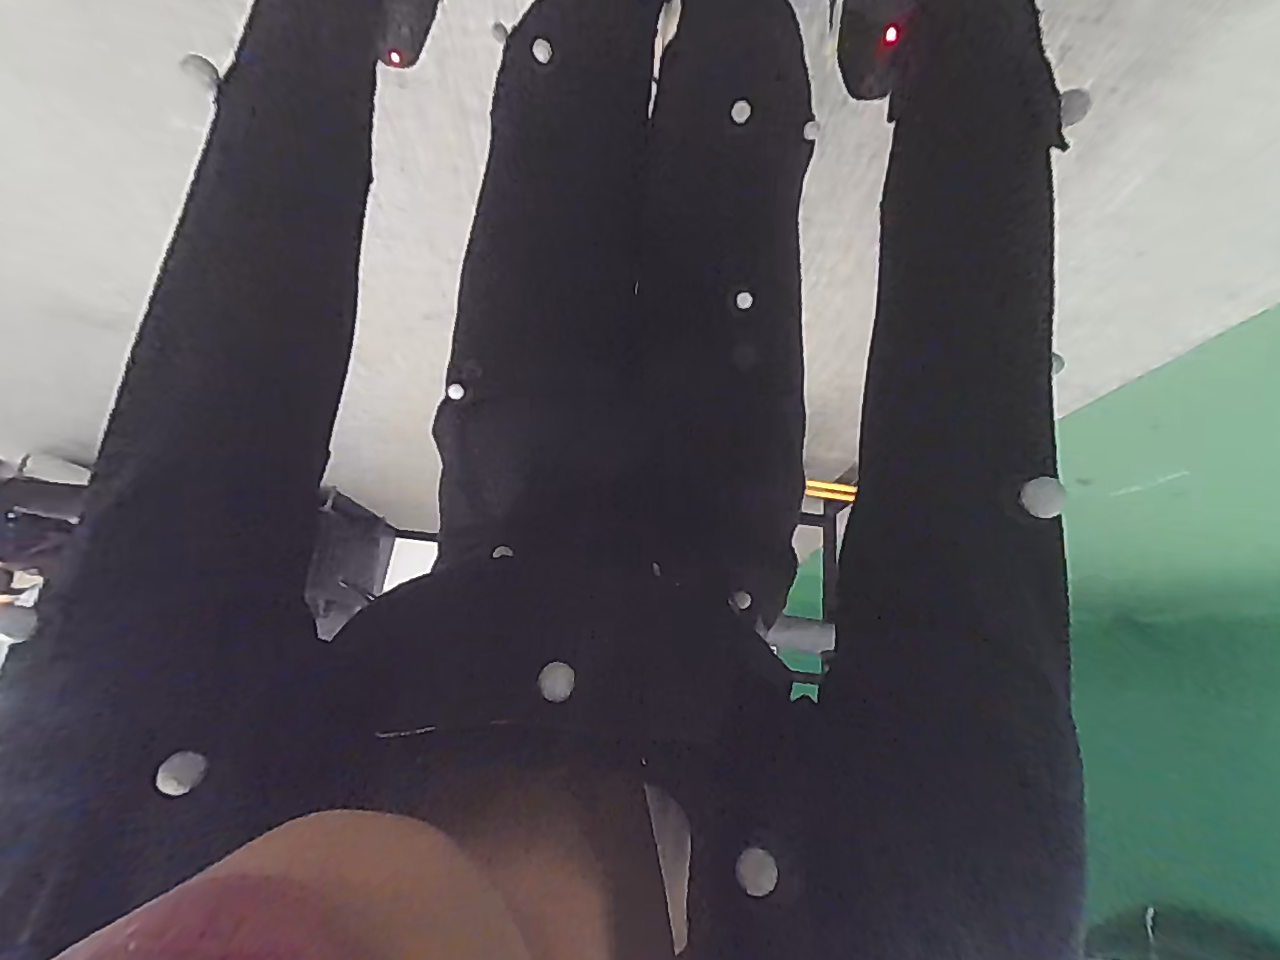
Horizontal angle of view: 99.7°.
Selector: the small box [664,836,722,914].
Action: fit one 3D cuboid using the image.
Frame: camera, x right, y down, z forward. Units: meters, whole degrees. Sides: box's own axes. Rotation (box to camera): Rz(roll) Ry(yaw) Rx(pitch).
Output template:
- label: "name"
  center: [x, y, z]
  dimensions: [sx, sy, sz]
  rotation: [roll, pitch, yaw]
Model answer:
- label: "small box"
  center: [0.179, 1.328, 1.835]
  dimensions: [0.168, 0.176, 0.179]
  rotation: [7, 162, -1]
